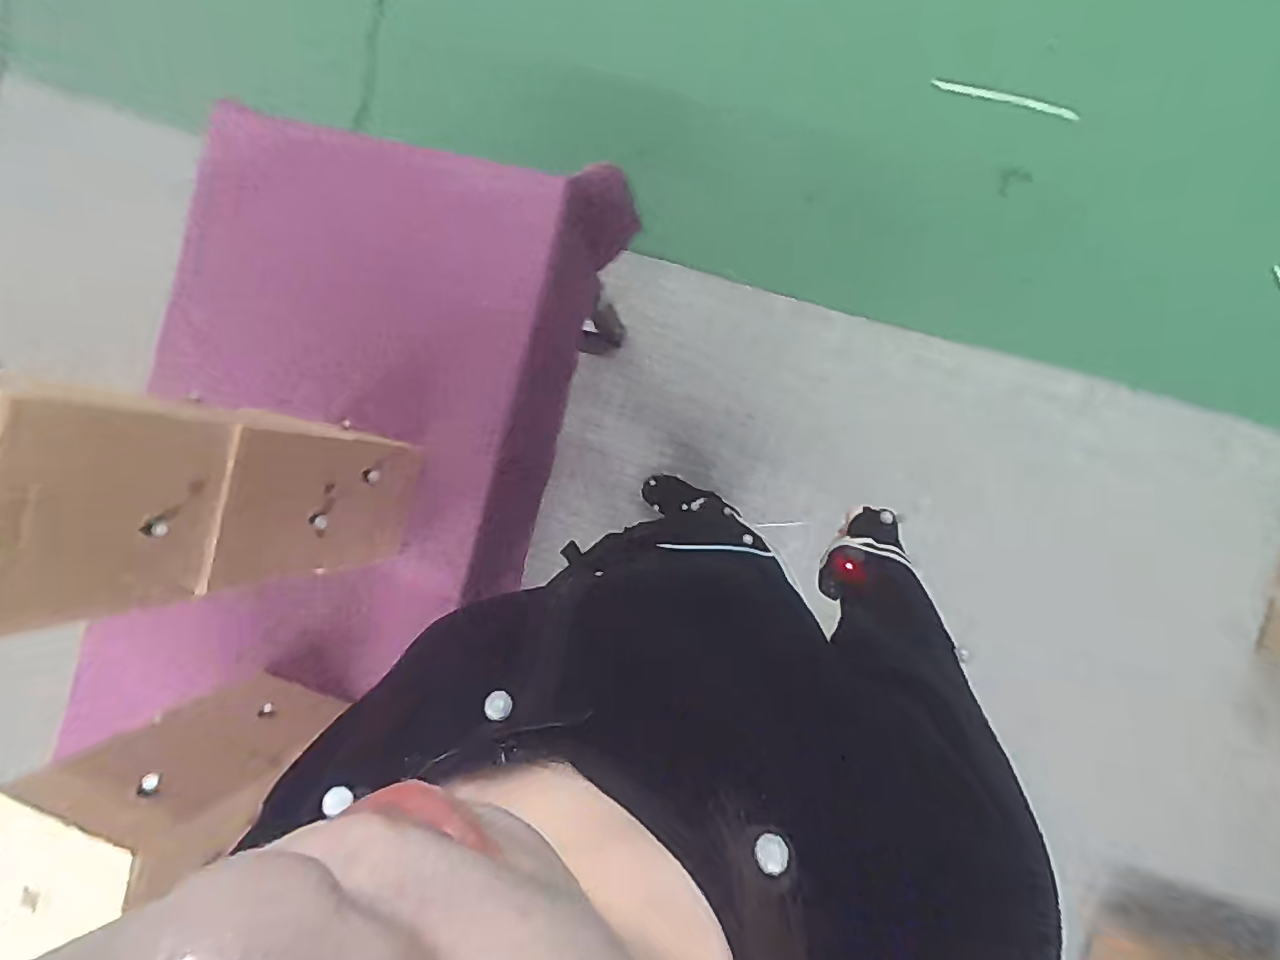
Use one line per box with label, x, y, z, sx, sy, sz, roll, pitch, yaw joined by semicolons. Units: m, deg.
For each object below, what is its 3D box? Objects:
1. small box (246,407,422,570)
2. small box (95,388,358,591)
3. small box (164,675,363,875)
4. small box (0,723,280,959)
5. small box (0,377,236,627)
small box;-0.433;0.011;0.758;0.168;0.176;0.179;14;91;8
small box;-0.456;0.009;0.597;0.179;0.176;0.168;13;91;6
small box;-0.537;0.397;0.764;0.179;0.176;0.168;16;91;6
small box;-0.550;0.399;0.600;0.179;0.176;0.168;16;90;6
small box;-0.482;0.008;0.436;0.179;0.176;0.168;11;91;6
